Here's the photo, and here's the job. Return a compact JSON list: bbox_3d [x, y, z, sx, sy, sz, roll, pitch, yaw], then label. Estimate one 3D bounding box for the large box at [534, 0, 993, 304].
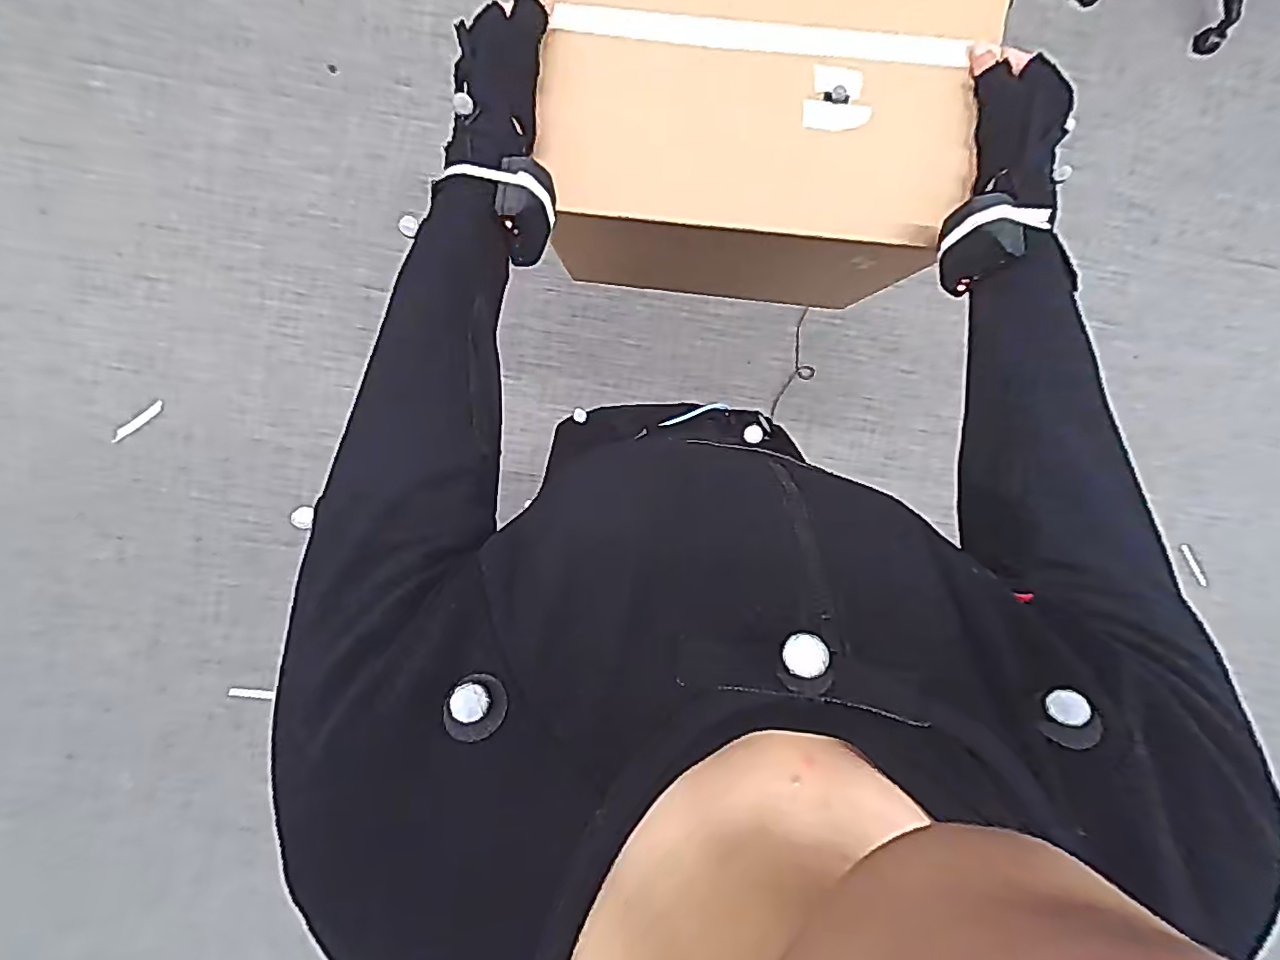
[{"bbox_3d":[0.108,-0.405,0.633,0.408,0.320,0.320,6,99,-1],"label":"large box"}]
